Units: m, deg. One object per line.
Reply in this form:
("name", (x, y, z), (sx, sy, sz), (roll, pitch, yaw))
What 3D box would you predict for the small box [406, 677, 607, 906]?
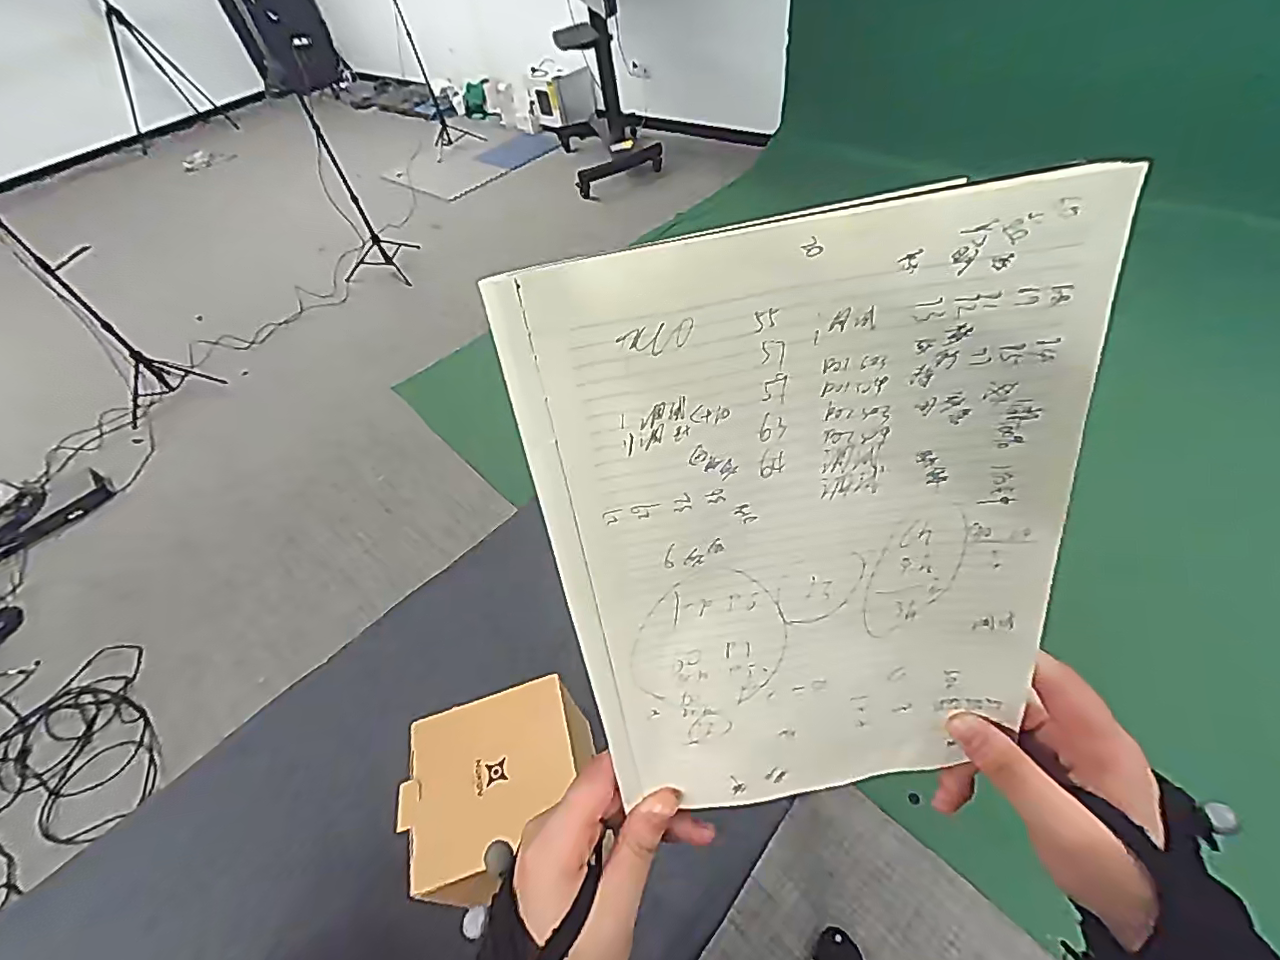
("small box", (-0.143, 0.356, 0.615), (0.179, 0.176, 0.168), (-19, 49, -4))
